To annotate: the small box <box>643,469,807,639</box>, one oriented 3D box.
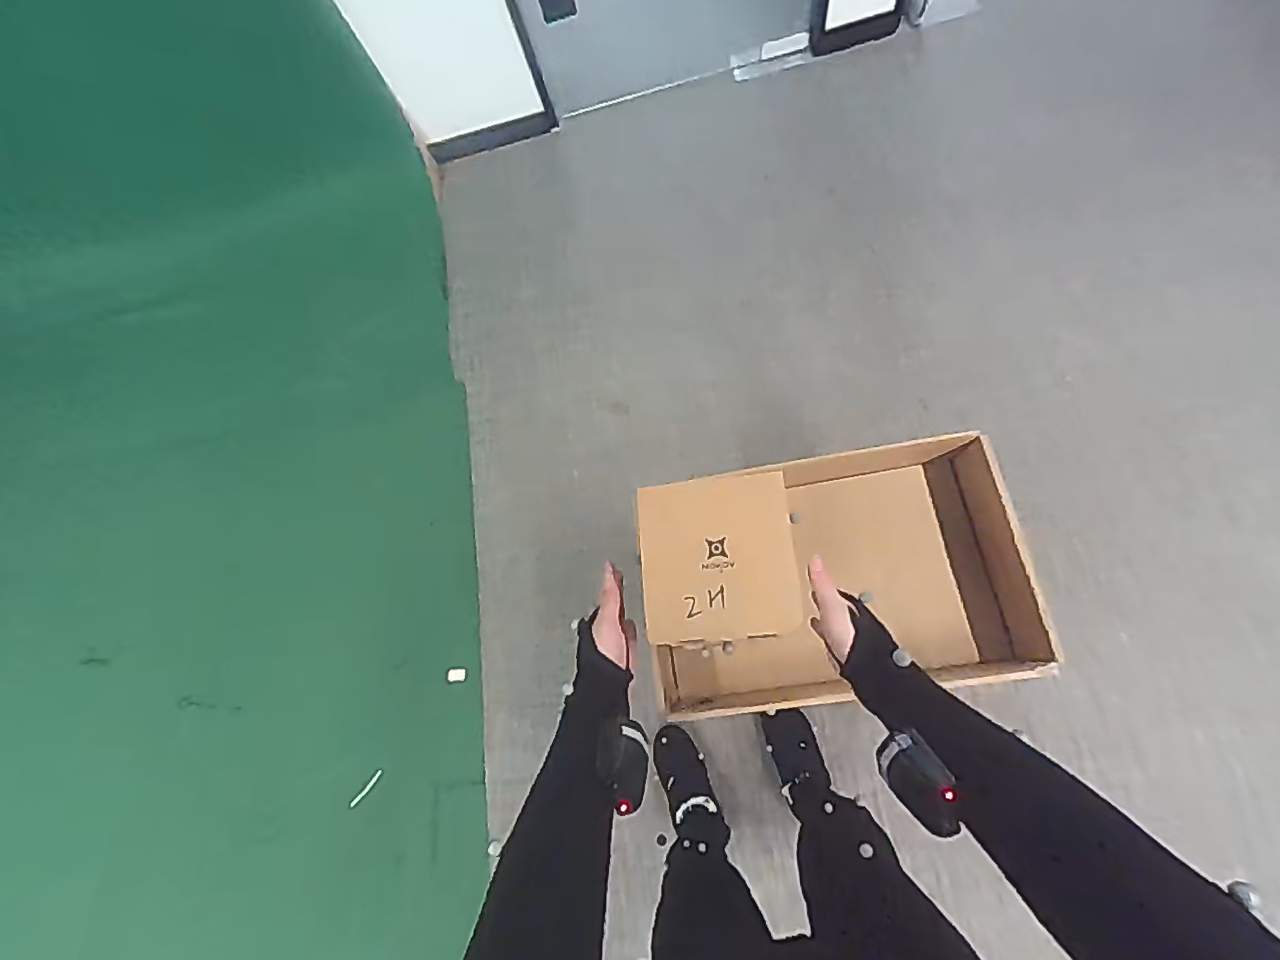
[{"bbox_3d":[0.100,0.099,0.658,0.168,0.176,0.179,-6,73,9],"label":"small box"}]
